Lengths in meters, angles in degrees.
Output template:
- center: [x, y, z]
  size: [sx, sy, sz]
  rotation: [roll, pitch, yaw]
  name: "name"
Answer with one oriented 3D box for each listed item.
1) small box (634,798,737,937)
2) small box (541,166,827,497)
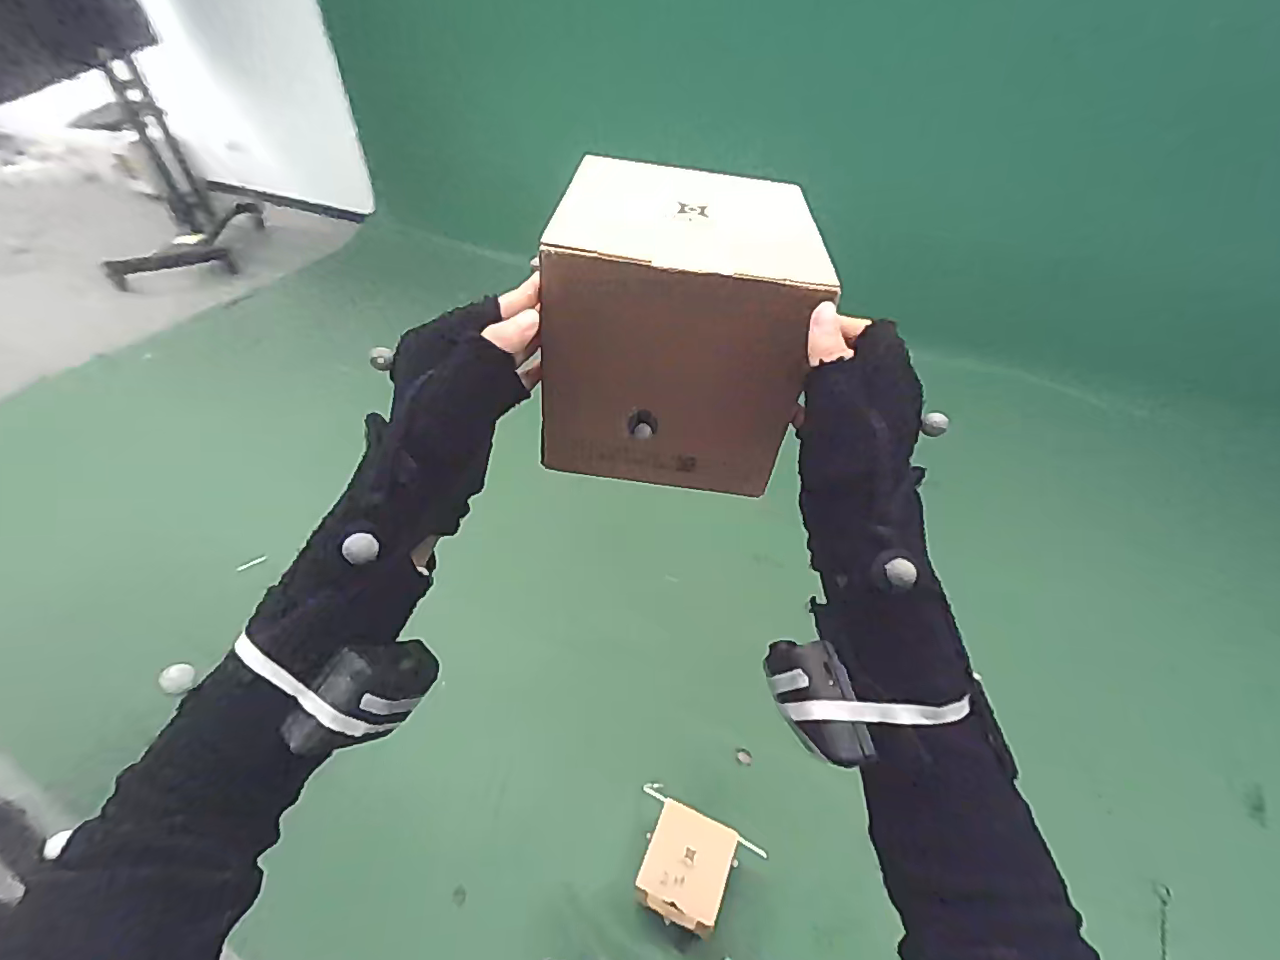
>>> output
- center: [0.092, 0.831, 1.159]
  size: [0.168, 0.176, 0.179]
  rotation: [19, 47, 17]
  name: "small box"
- center: [0.020, -0.113, 0.414]
  size: [0.168, 0.176, 0.179]
  rotation: [7, 45, -2]
  name: "small box"
